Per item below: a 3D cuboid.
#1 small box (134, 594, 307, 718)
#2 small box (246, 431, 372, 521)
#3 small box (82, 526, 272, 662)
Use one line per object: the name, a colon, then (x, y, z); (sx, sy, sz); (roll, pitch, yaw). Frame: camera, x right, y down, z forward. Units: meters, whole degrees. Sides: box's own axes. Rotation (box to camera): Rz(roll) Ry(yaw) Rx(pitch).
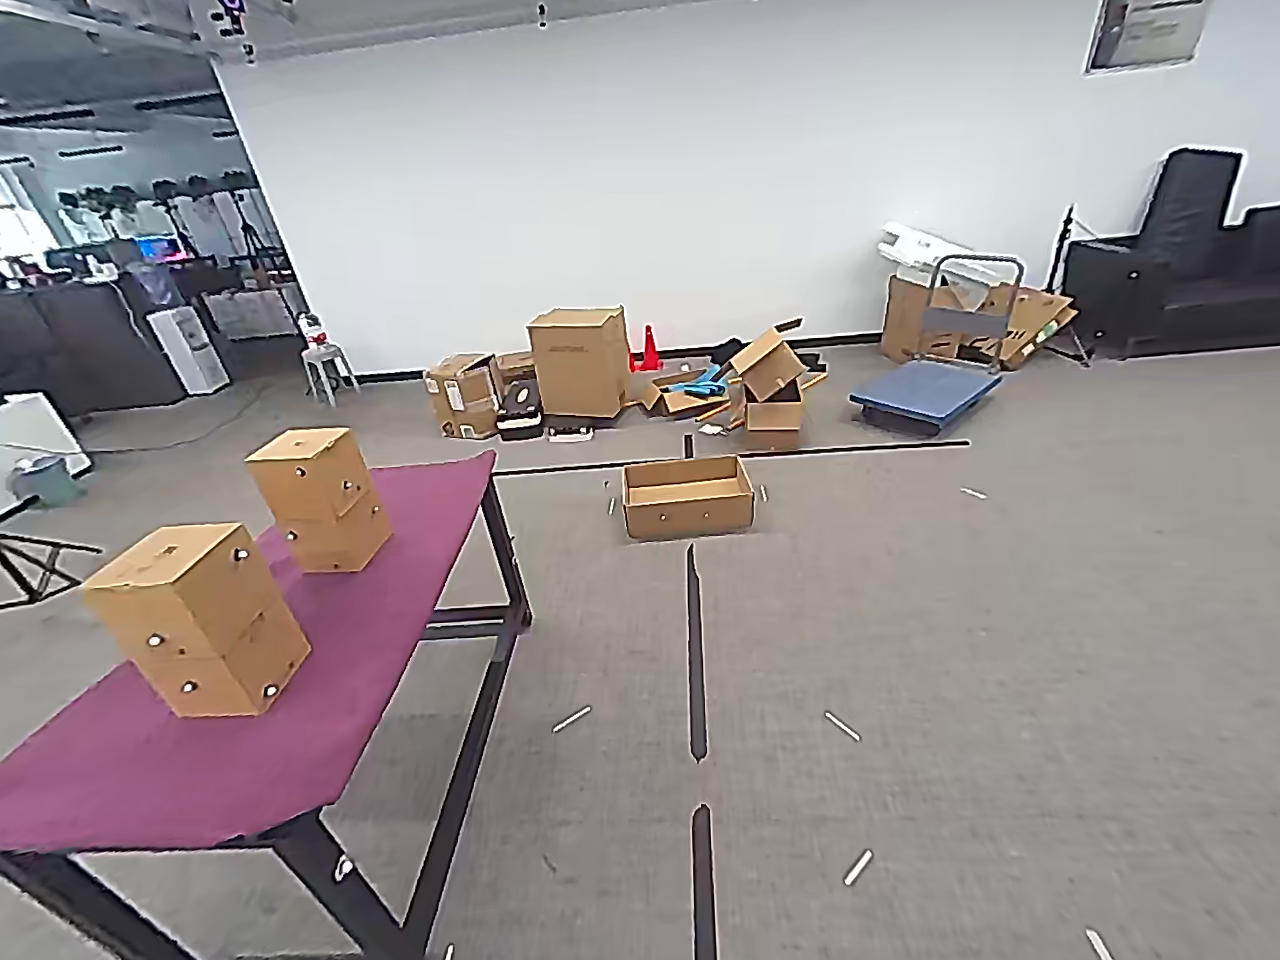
small box: (-0.798, 0.342, 1.055); (0.179, 0.176, 0.168); (-4, 30, 5)
small box: (-0.805, -0.008, 1.335); (0.179, 0.176, 0.168); (-2, 30, 7)
small box: (-0.805, 0.201, 0.970); (0.168, 0.176, 0.179); (-4, 30, 4)
